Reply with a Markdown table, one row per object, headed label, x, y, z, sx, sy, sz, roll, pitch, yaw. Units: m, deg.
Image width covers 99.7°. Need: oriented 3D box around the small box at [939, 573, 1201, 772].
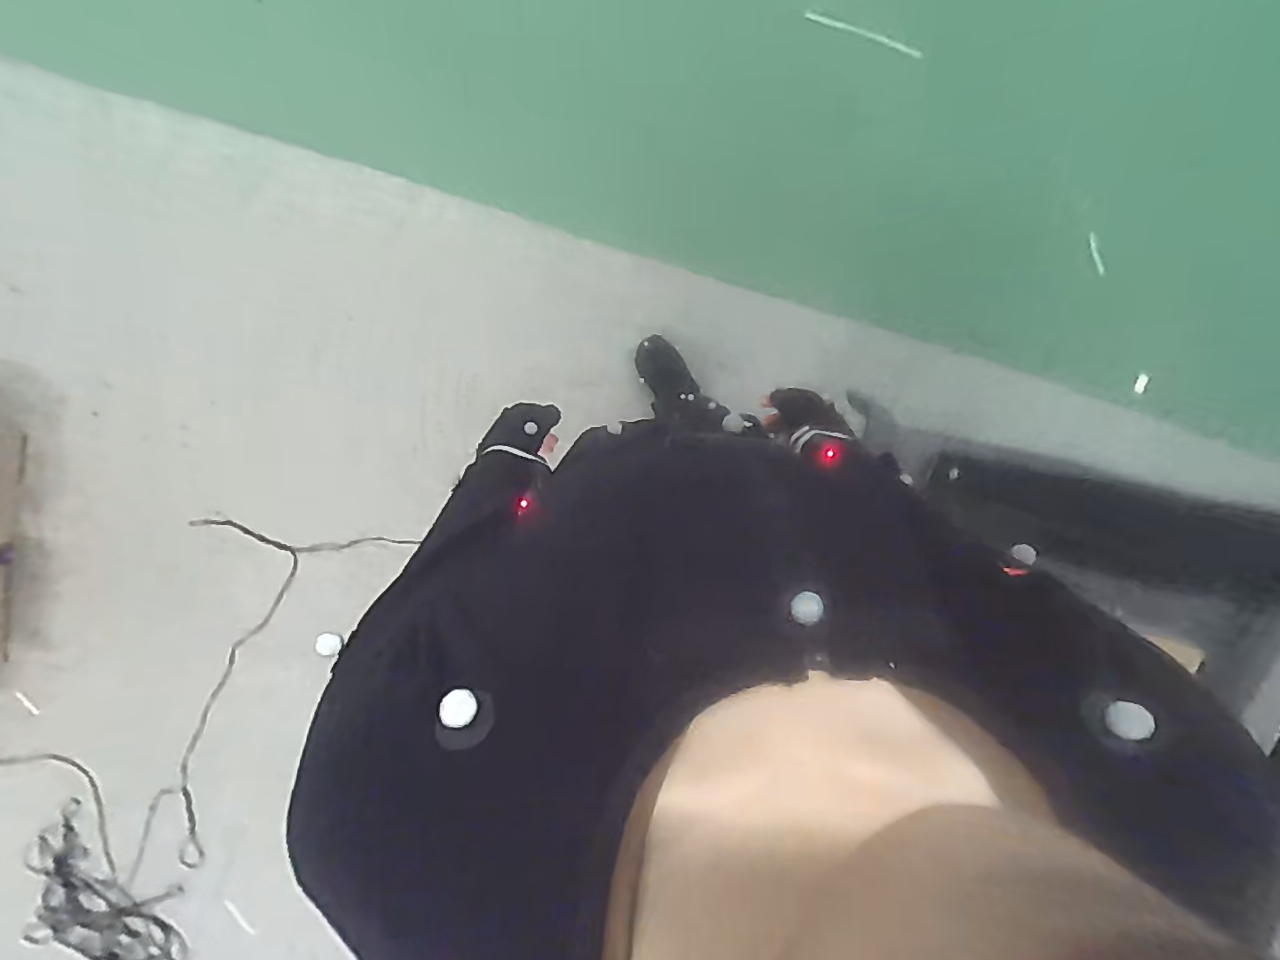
| label | x | y | z | sx | sy | sz | roll | pitch | yaw |
| --- | --- | --- | --- | --- | --- | --- | --- | --- | --- |
| small box | 0.539 | 0.237 | 0.706 | 0.179 | 0.176 | 0.168 | 15 | 98 | -4 |
